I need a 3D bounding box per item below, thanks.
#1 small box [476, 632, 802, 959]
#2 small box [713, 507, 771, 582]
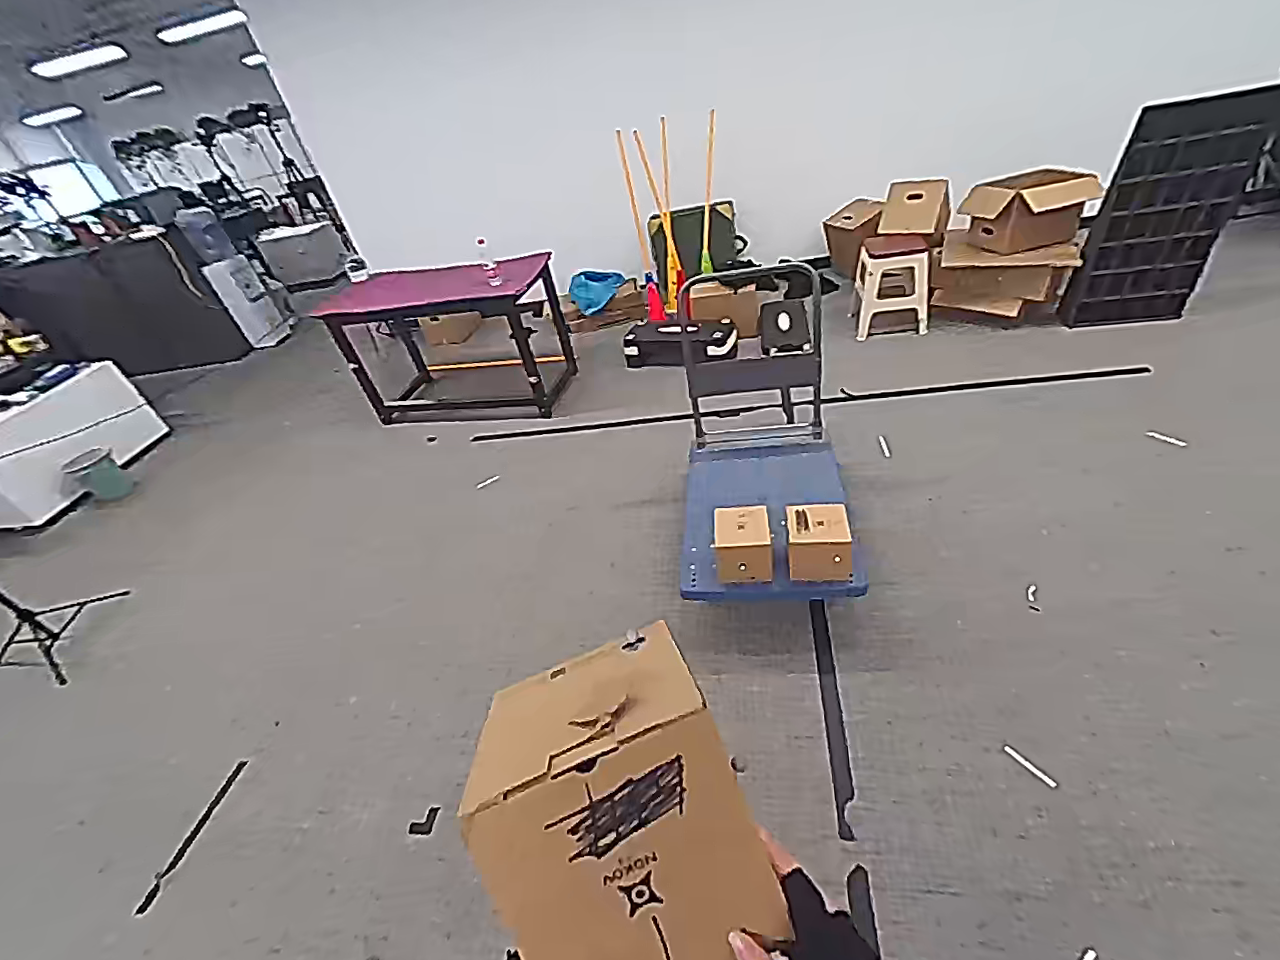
[{"bbox_3d":[-0.006,0.239,0.422,0.168,0.179,0.176,-22,6,-4],"label":"small box"},{"bbox_3d":[0.323,0.210,1.716,0.168,0.176,0.179,-5,37,11],"label":"small box"}]
